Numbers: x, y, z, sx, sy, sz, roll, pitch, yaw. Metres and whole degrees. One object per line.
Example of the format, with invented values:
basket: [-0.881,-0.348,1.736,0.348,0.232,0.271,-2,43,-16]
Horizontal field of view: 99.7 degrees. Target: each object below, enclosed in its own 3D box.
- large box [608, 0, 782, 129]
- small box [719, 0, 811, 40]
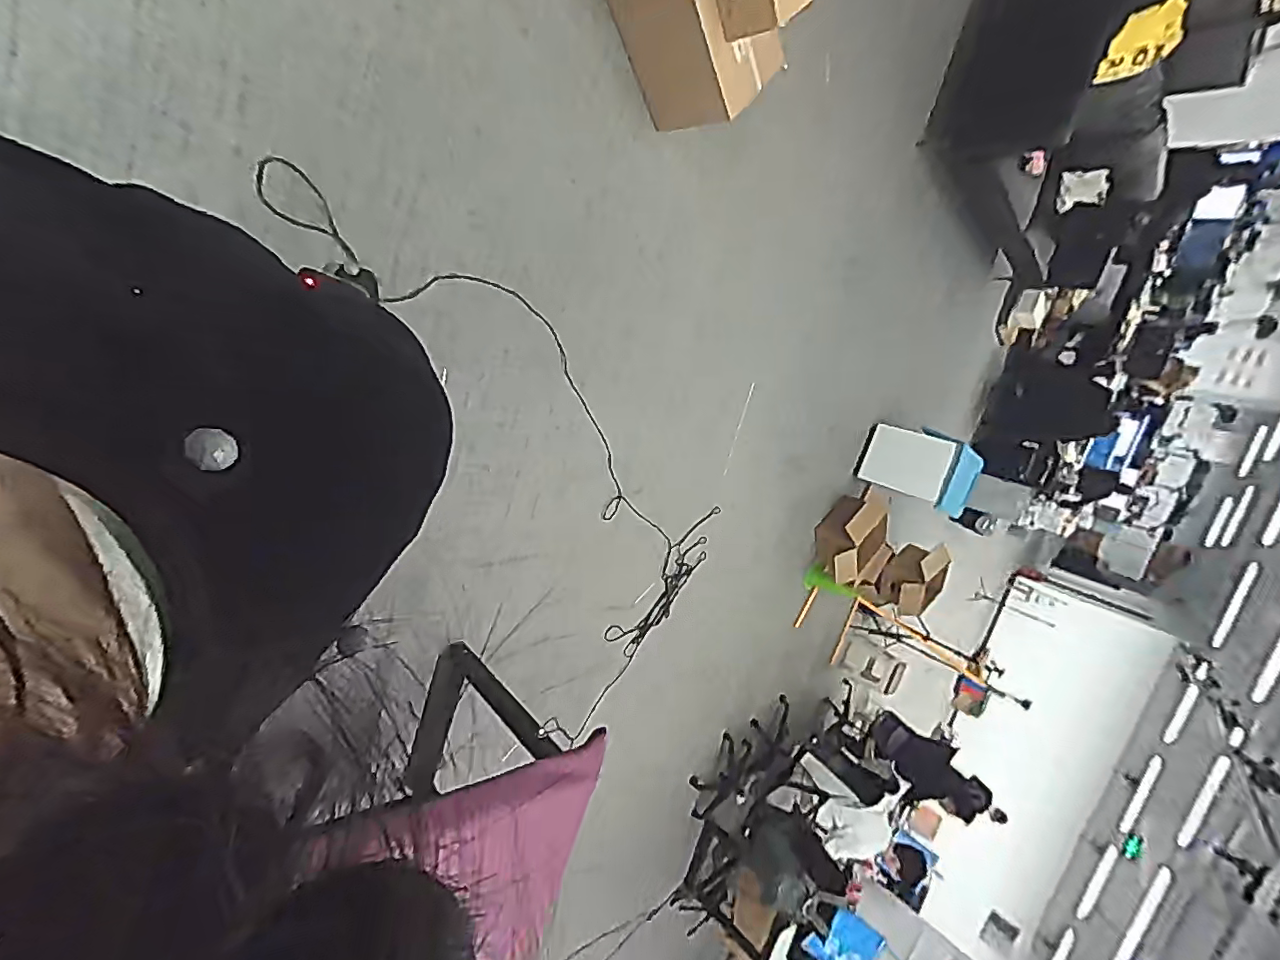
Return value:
large box: [0.168,-1.336,1.592,0.320,0.320,0.408,-52,138,-14]
small box: [0.321,-1.290,1.403,0.179,0.176,0.168,-50,137,-18]
